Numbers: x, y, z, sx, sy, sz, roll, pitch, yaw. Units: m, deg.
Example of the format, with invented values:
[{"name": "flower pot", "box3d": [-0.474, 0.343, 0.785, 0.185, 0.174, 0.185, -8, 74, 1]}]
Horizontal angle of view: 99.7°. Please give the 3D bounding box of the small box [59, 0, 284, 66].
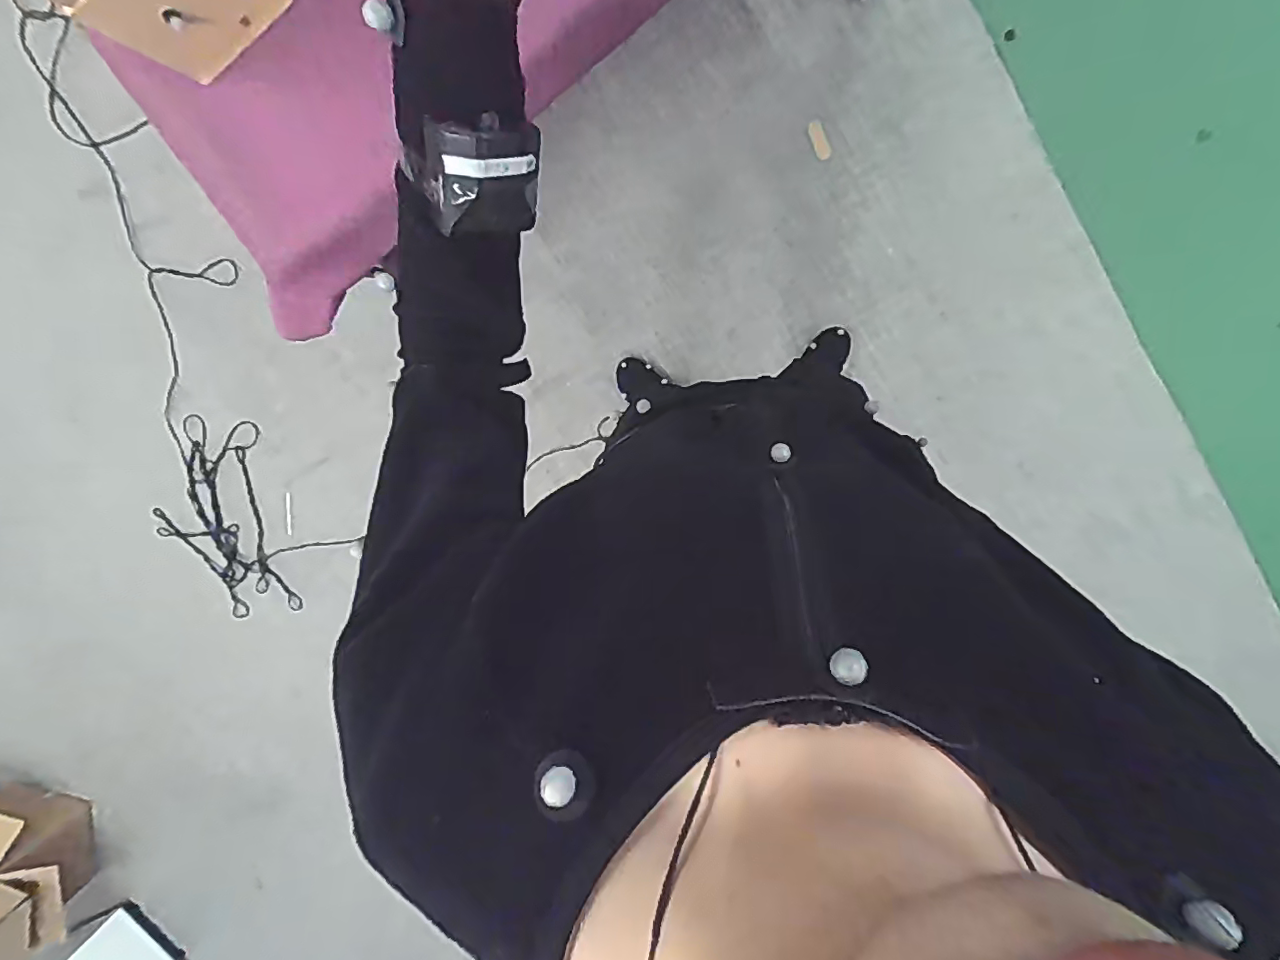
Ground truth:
[{"name": "small box", "box3d": [-0.545, -0.603, 0.591, 0.168, 0.176, 0.179, -30, 99, 13]}]
